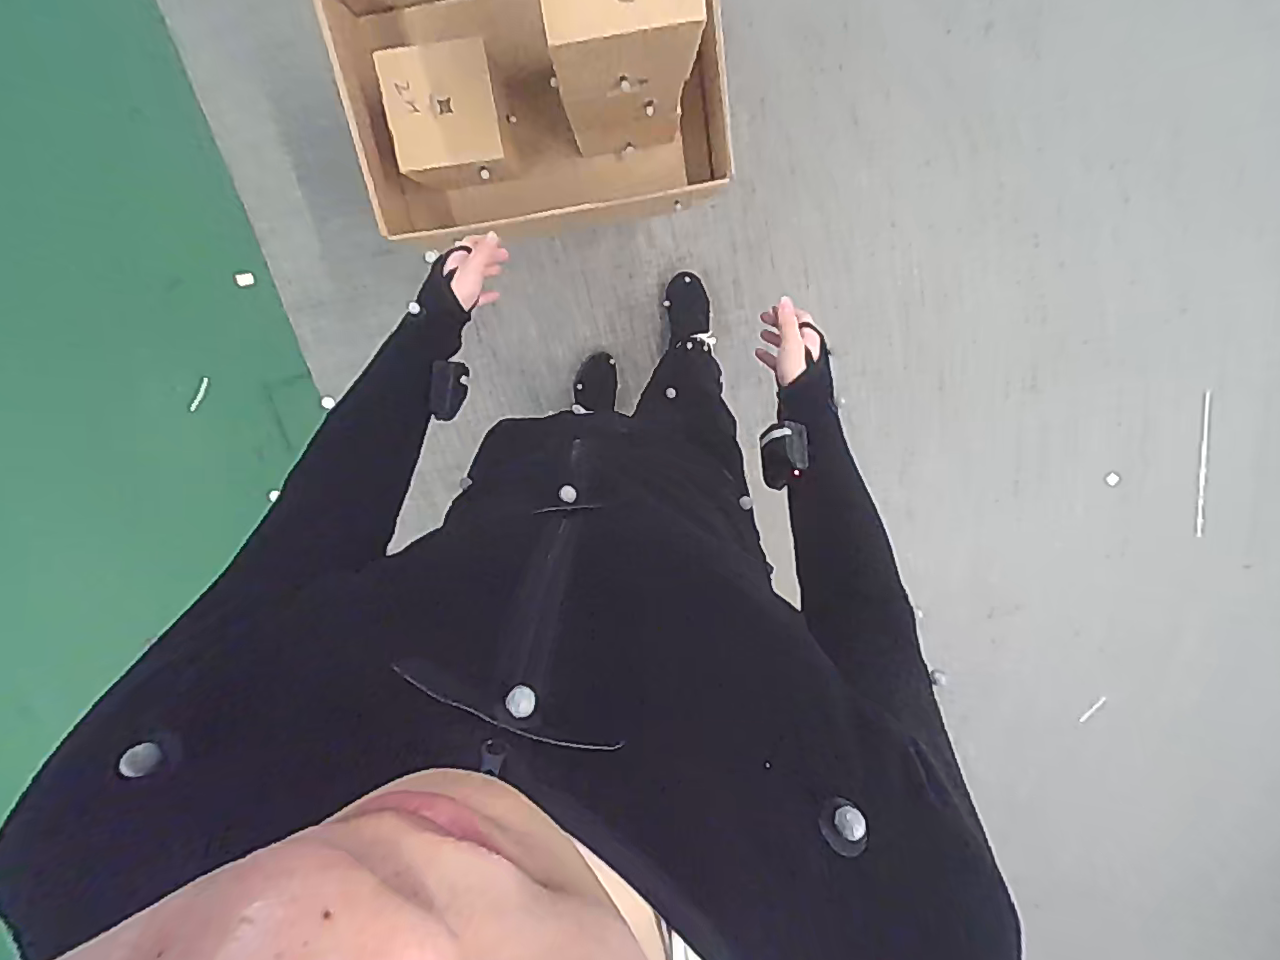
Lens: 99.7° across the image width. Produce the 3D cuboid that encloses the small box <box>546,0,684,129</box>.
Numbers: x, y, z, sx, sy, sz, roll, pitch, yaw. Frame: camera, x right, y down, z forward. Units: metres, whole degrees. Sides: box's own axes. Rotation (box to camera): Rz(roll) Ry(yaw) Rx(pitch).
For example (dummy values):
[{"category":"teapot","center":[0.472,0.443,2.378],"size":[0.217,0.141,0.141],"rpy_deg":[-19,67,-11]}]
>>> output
[{"category":"small box","center":[-0.033,-0.612,0.750],"size":[0.168,0.176,0.179],"rpy_deg":[-8,108,2]}]
